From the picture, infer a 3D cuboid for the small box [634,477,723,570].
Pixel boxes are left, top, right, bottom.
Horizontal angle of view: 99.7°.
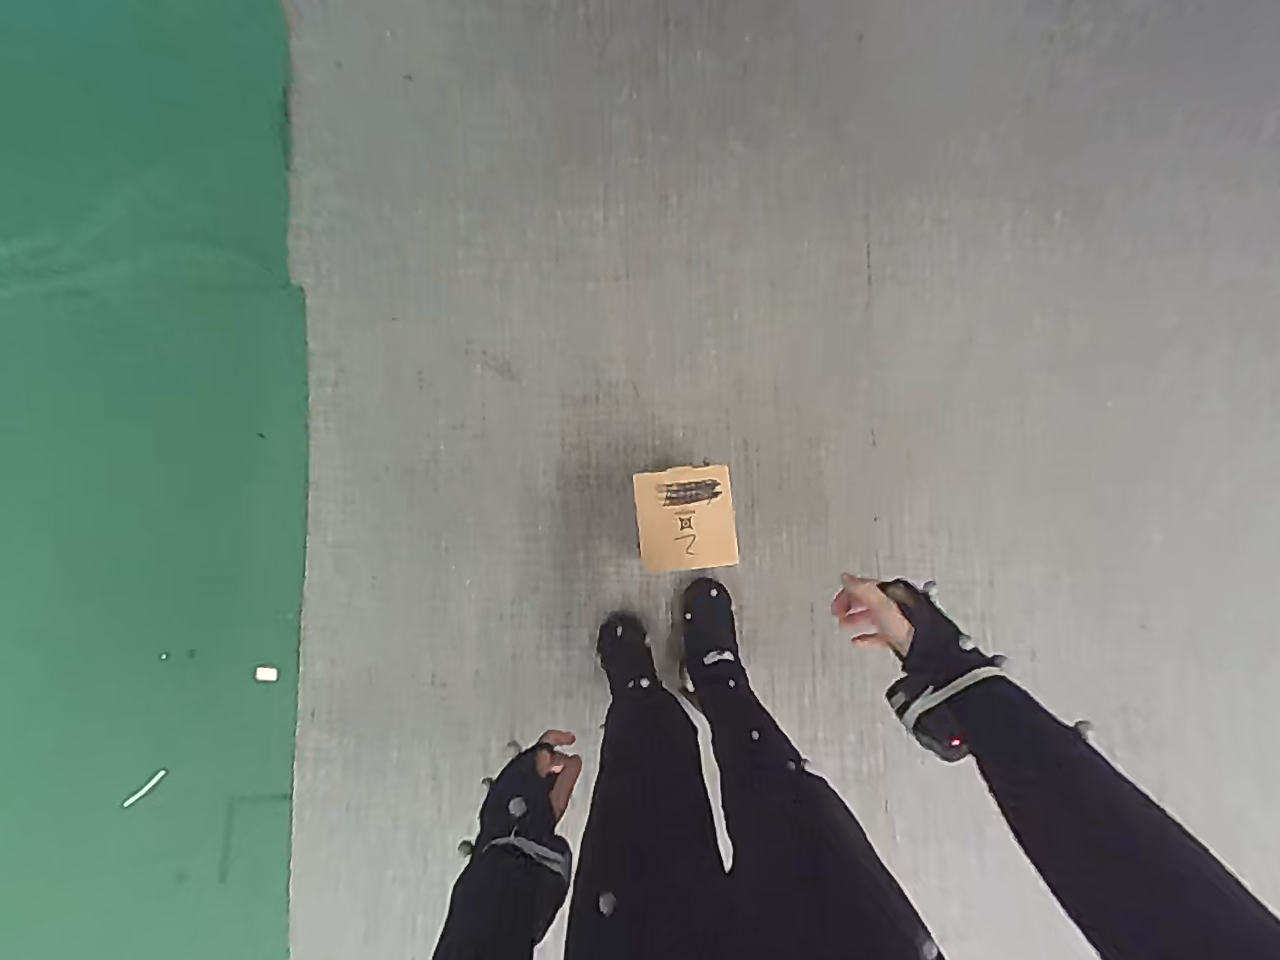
[{"bbox_3d":[0.079,0.089,1.160,0.168,0.176,0.179,-7,87,1],"label":"small box"}]
